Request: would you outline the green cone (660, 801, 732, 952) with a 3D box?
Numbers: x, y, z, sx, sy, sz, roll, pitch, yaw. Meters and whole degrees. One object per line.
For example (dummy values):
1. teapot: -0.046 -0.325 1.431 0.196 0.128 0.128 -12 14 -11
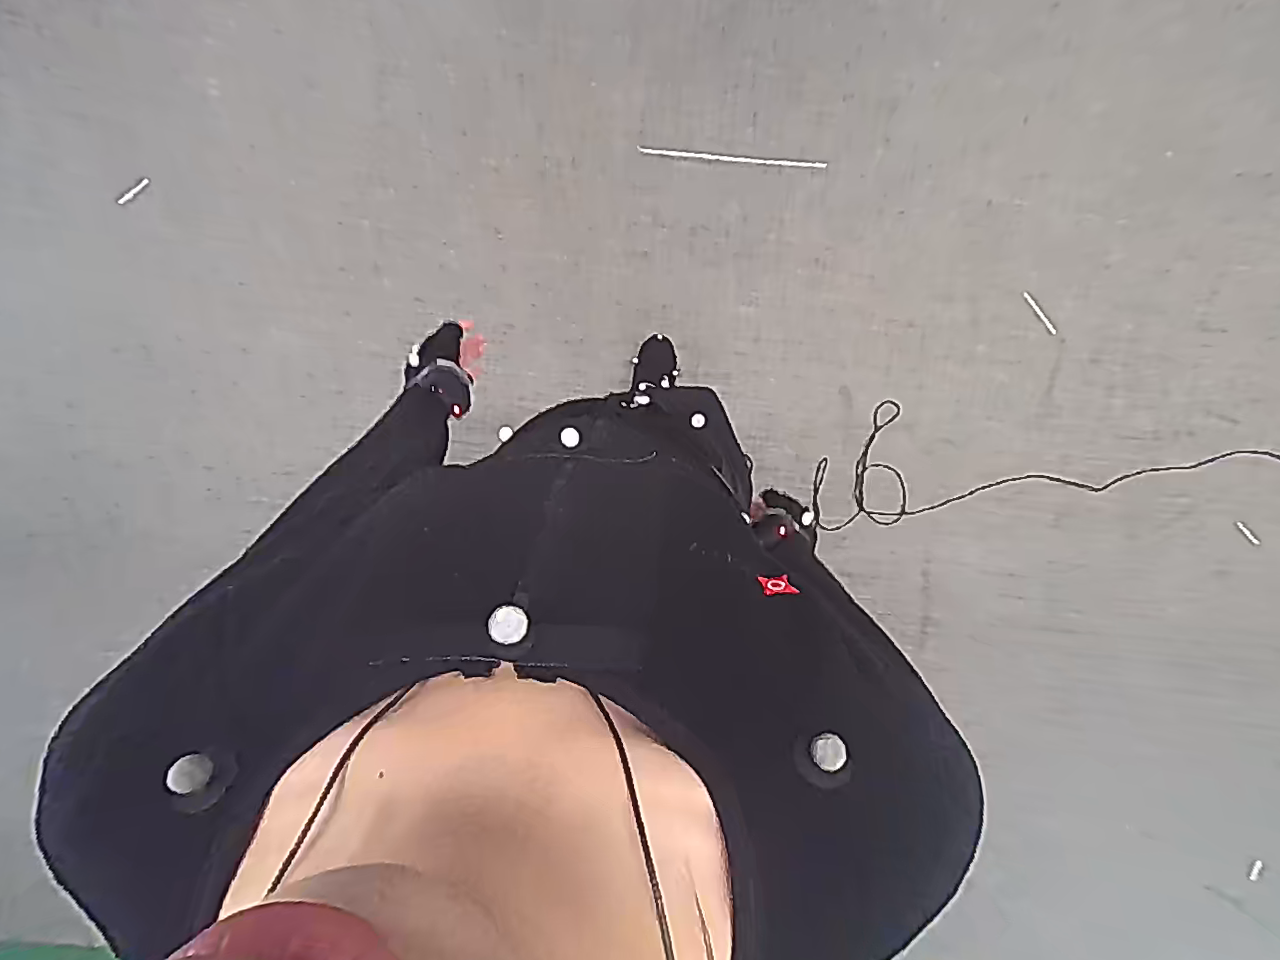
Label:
1. green cone: 0.170 1.097 1.470 0.200 0.368 0.202 7 97 -1
